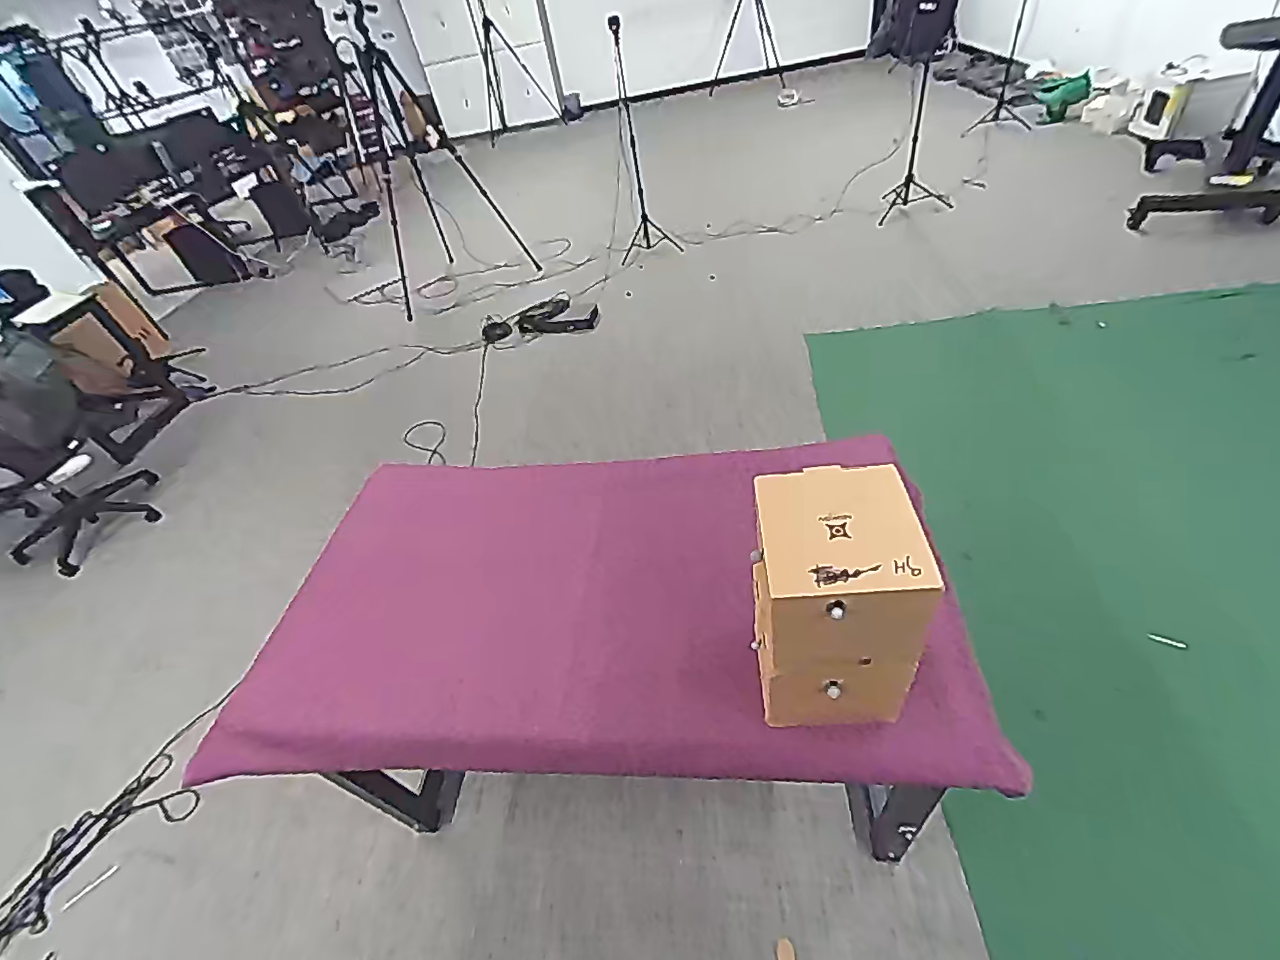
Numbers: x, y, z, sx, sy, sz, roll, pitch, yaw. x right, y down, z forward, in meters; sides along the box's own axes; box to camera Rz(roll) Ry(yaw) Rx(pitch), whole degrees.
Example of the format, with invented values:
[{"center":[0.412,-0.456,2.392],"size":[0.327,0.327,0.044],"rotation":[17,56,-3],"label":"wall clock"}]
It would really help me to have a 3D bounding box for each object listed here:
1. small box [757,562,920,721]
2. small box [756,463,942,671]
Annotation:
[{"center":[0.263,0.222,0.755],"size":[0.179,0.176,0.168],"rotation":[-7,45,10],"label":"small box"},{"center":[0.232,0.106,0.644],"size":[0.168,0.176,0.179],"rotation":[-7,44,11],"label":"small box"}]
